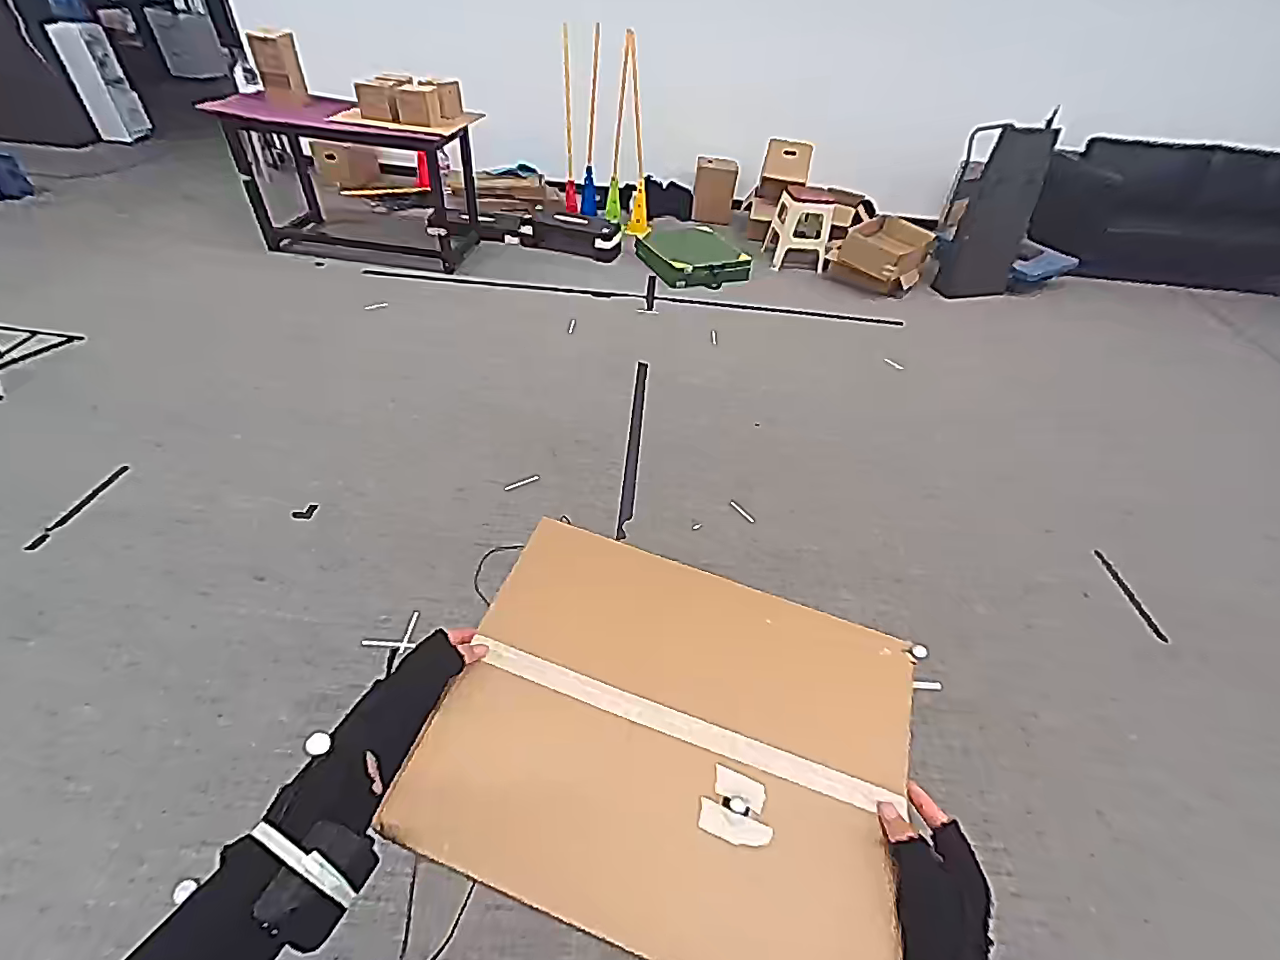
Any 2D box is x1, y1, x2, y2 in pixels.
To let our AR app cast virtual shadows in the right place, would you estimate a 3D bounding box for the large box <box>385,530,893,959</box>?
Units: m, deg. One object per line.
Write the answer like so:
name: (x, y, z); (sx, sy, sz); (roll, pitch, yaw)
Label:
large box: (0.014, 0.313, 0.611); (0.408, 0.320, 0.320); (18, 54, 8)
